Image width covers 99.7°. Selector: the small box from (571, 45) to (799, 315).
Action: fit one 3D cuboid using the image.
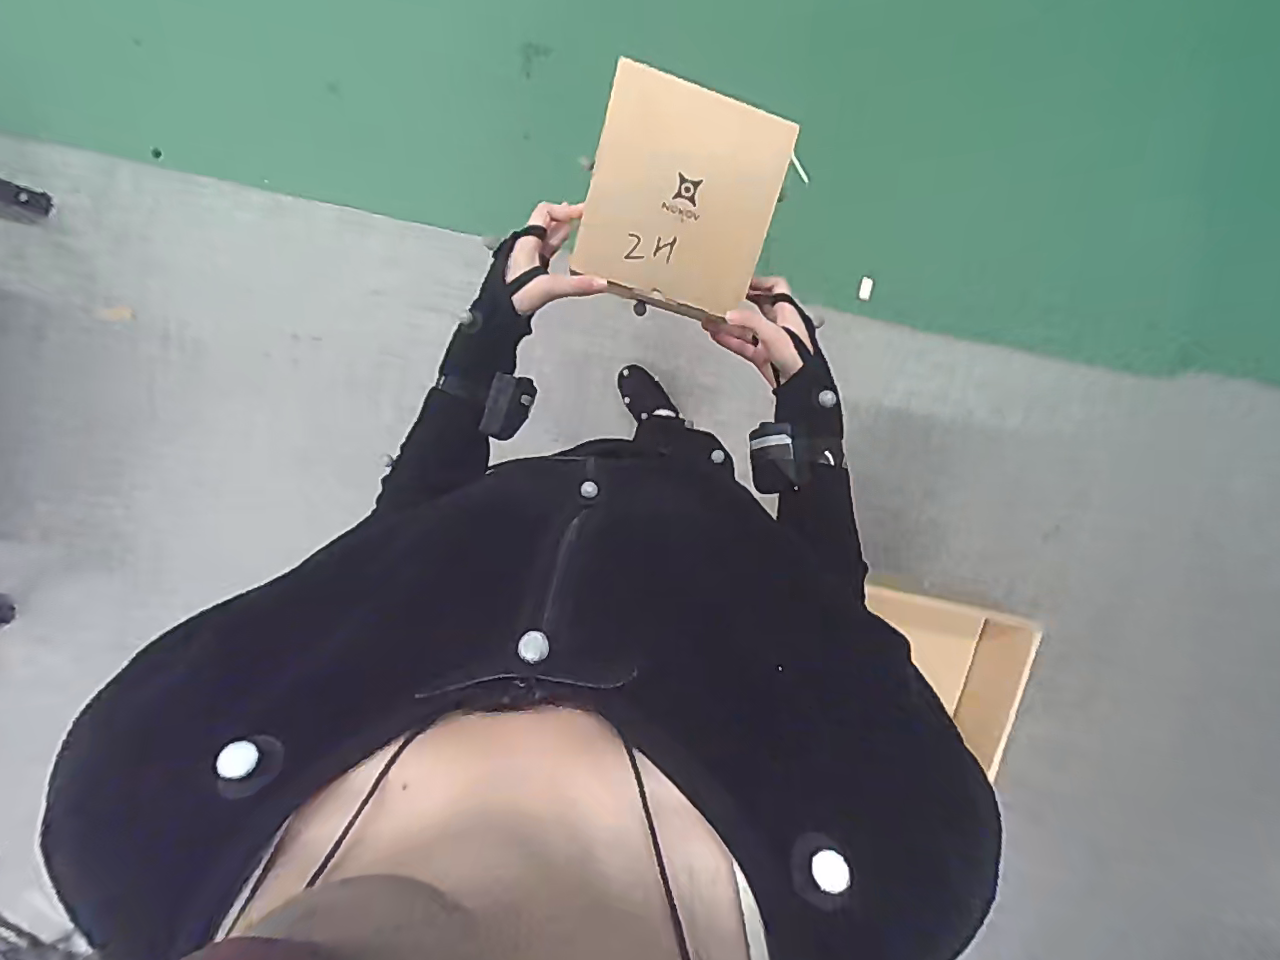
[{"bbox_3d":[0.031,-0.277,0.549,0.168,0.176,0.179,14,105,-8],"label":"small box"}]
